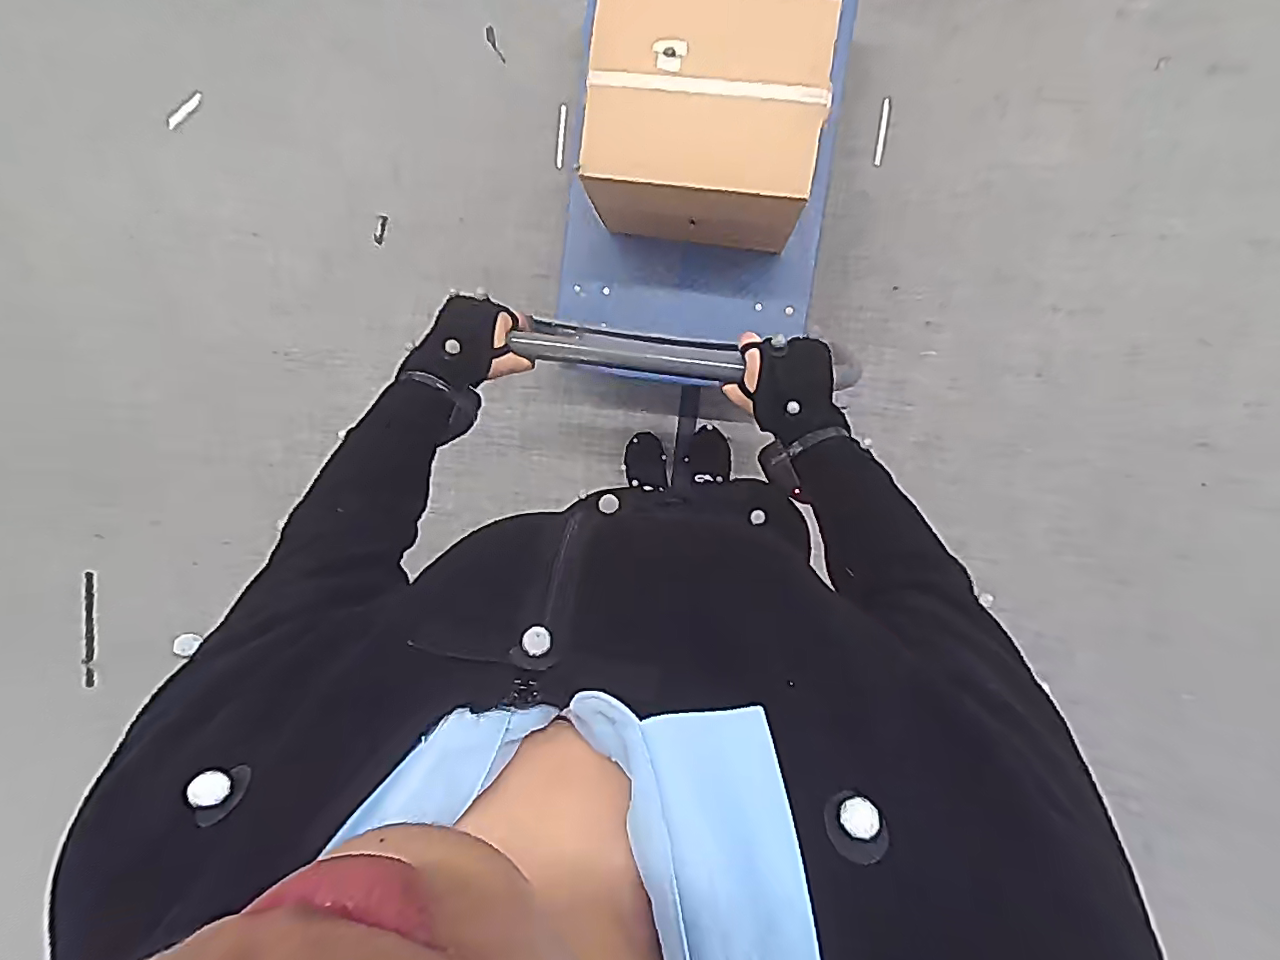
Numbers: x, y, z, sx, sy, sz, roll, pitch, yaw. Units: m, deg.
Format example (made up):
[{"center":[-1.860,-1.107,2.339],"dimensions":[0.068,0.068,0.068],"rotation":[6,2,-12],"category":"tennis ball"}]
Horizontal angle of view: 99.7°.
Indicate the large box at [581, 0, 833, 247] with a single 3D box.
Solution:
[{"center":[0.125,-0.678,1.073],"dimensions":[0.408,0.320,0.320],"rotation":[9,97,6],"category":"large box"}]
